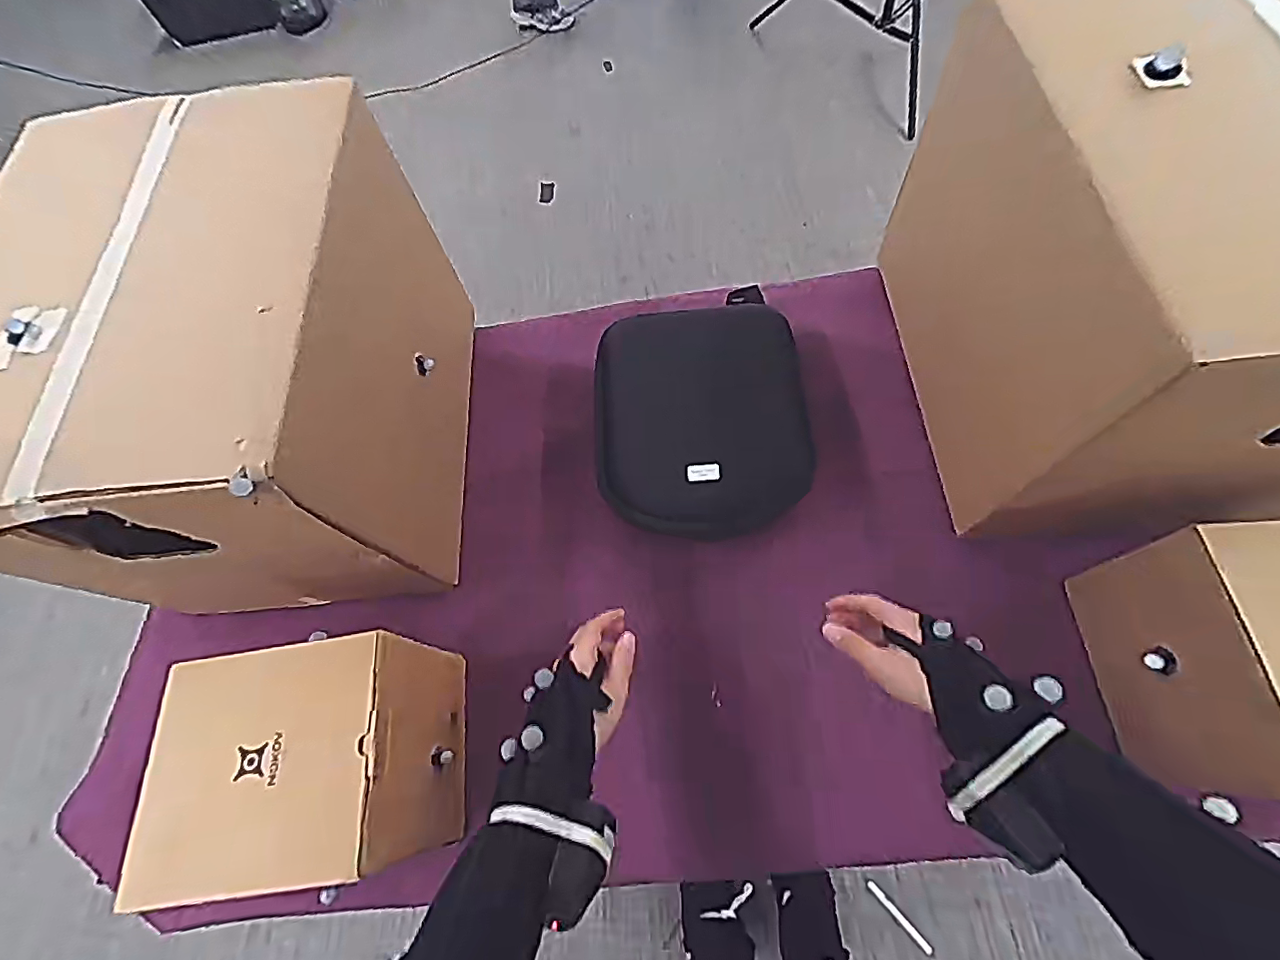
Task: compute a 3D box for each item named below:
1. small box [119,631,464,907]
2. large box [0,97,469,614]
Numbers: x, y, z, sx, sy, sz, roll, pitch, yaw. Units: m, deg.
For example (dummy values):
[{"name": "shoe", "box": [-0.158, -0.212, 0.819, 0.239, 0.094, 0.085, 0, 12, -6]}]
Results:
[{"name": "small box", "box": [-0.272, 0.242, 0.471, 0.179, 0.176, 0.168, -10, 64, 2]}, {"name": "large box", "box": [-0.381, -0.098, 0.562, 0.320, 0.320, 0.408, -7, 67, 3]}]
